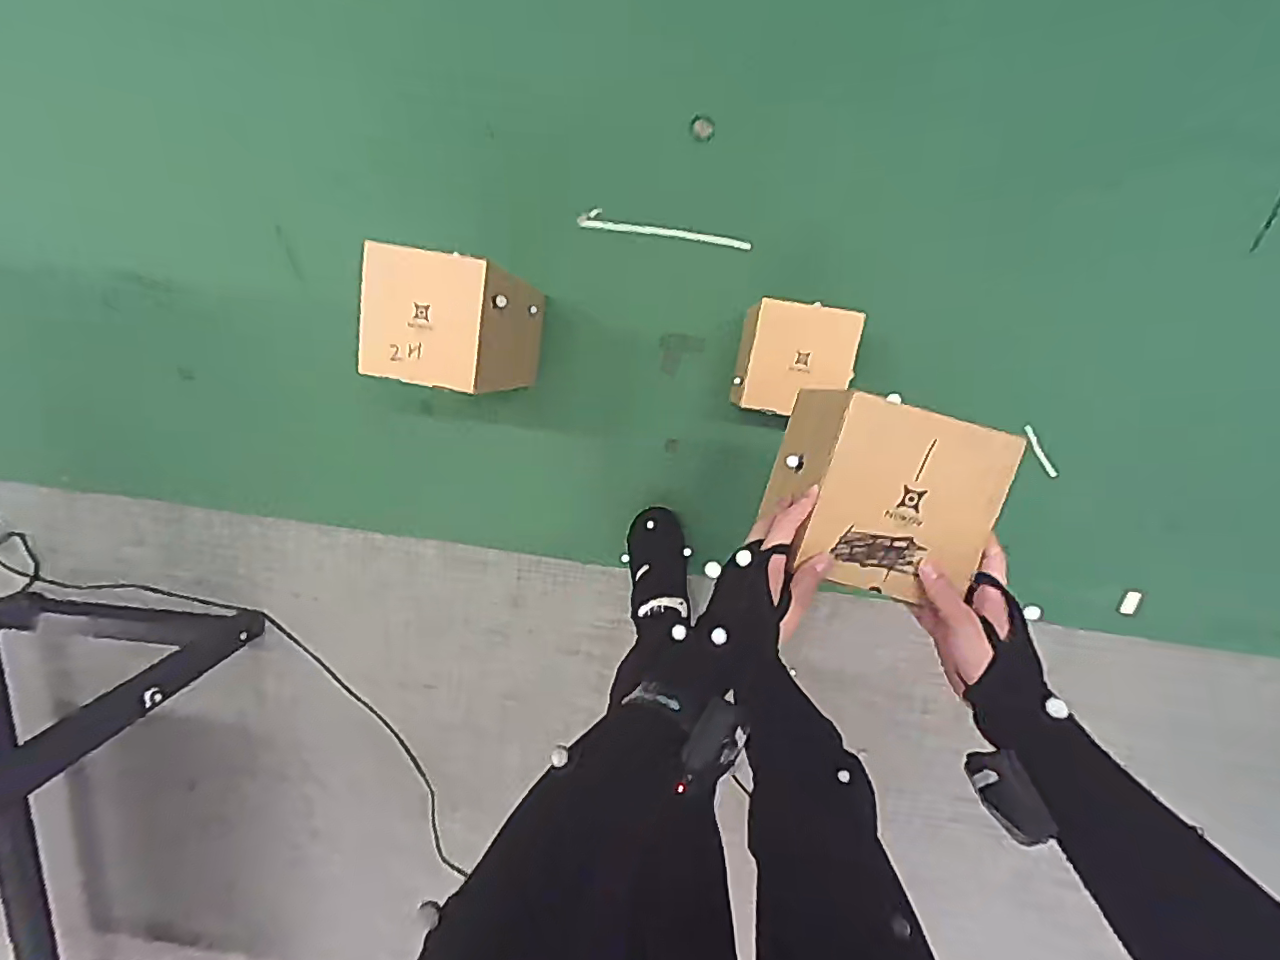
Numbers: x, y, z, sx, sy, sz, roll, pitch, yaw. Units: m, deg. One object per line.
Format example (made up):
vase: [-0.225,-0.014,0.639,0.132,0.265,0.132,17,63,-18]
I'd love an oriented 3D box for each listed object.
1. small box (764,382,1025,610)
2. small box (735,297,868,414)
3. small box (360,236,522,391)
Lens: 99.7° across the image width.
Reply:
small box: [0.241,0.005,0.567,0.168,0.176,0.179,16,98,-2]
small box: [0.266,-0.206,0.936,0.168,0.176,0.179,9,103,1]
small box: [-0.281,-0.235,0.794,0.168,0.176,0.179,11,102,2]
